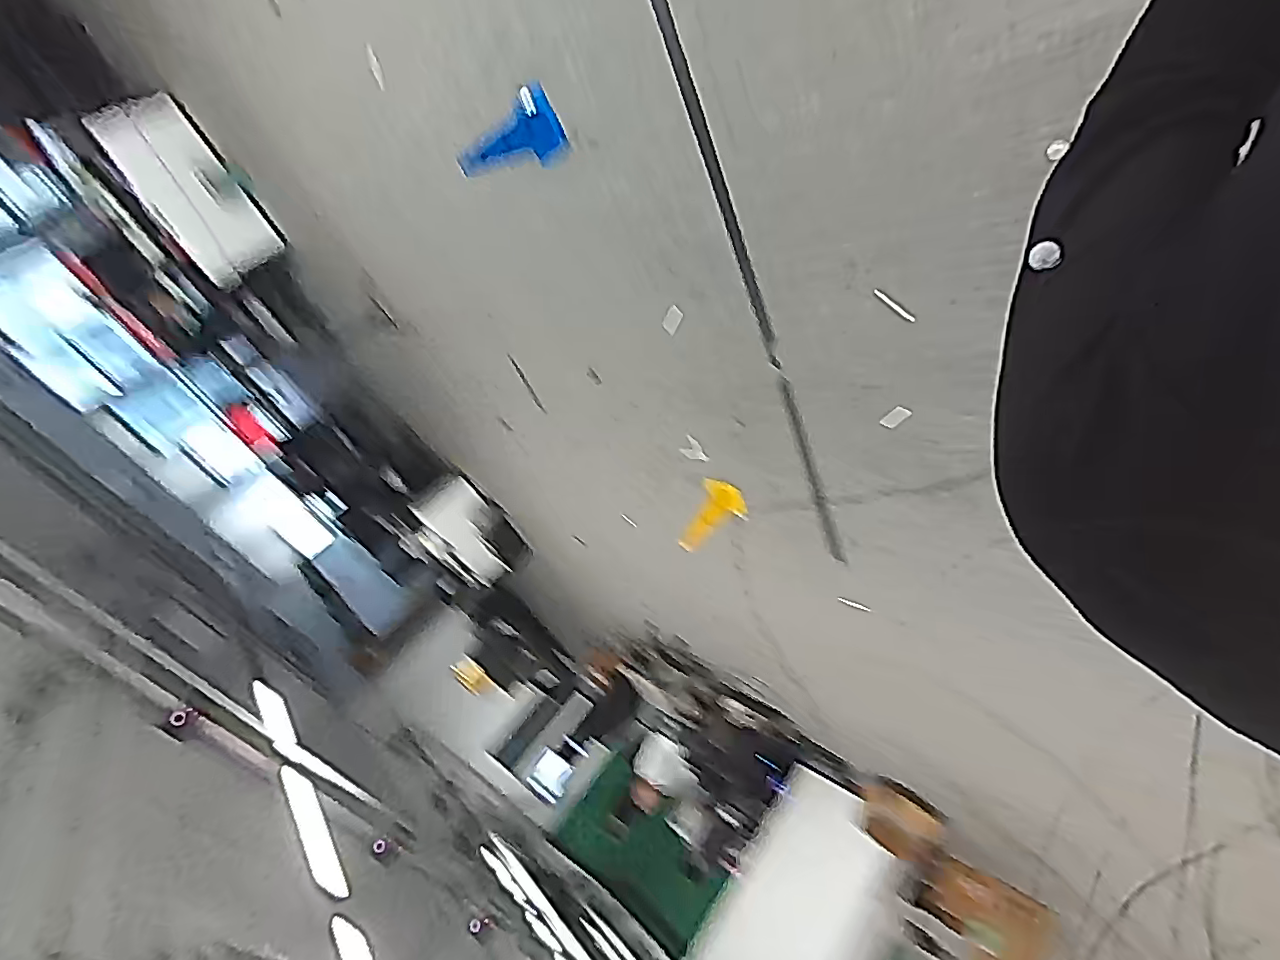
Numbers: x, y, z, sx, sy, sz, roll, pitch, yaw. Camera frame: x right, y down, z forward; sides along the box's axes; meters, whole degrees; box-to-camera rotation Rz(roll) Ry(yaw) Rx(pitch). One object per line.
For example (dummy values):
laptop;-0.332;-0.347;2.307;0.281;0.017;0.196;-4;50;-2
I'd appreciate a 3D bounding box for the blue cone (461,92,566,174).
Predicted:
blue cone;-0.455;-1.126;1.832;0.192;0.380;0.193;5;135;52
